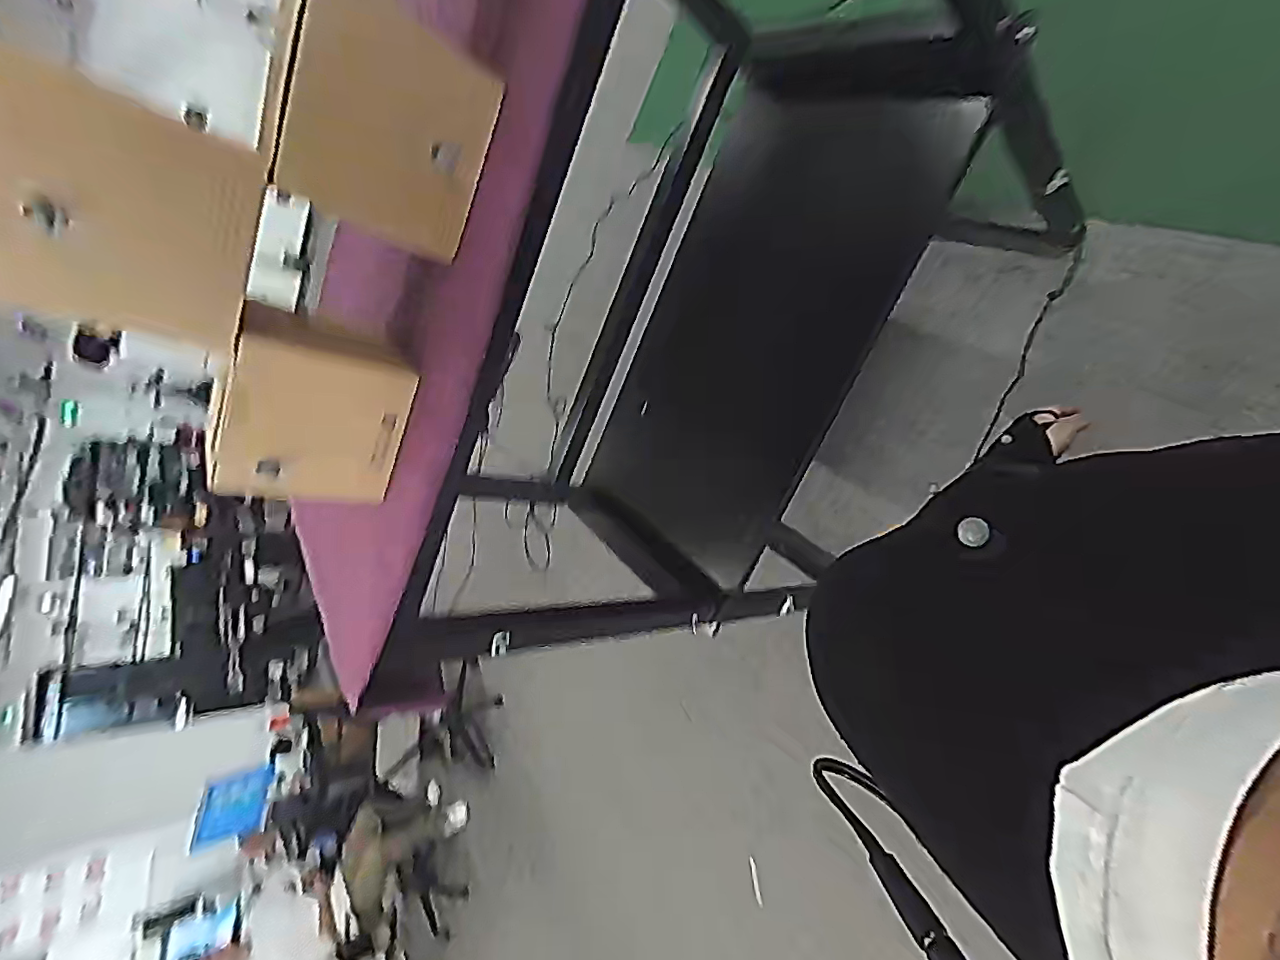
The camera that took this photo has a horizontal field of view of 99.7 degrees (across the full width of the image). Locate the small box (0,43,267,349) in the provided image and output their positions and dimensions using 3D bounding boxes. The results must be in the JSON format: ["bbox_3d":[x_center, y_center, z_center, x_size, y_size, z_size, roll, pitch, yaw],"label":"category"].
[{"bbox_3d":[-0.443,-0.236,0.474,0.168,0.176,0.179,42,113,42],"label":"small box"}]
